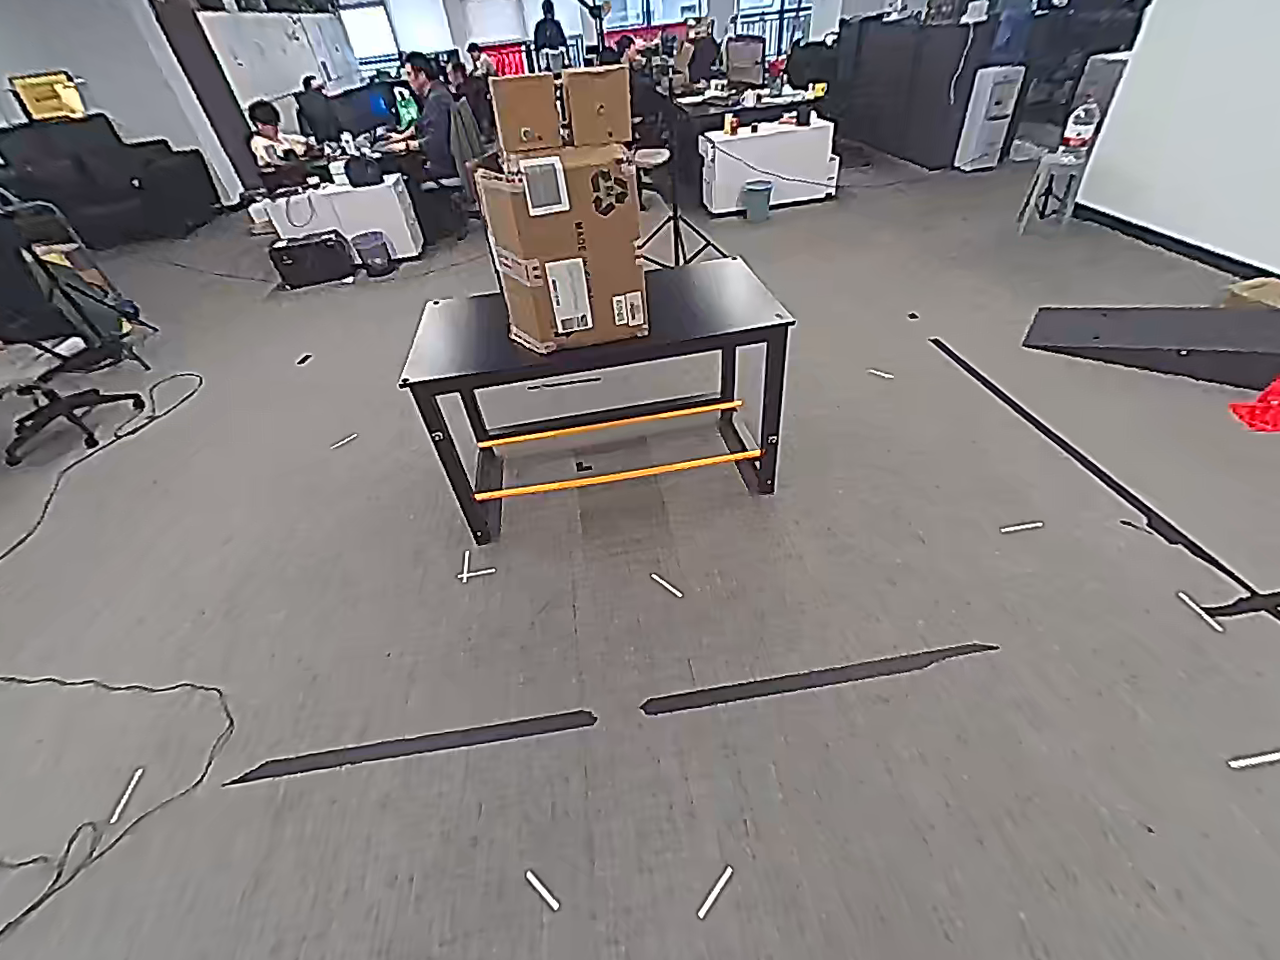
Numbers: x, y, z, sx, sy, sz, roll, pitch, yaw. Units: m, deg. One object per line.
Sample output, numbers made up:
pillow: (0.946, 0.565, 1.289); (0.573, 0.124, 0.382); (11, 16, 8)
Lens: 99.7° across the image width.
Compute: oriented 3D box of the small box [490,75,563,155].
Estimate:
small box: (-0.319, -1.030, 1.526); (0.168, 0.176, 0.179); (-14, 40, -9)
